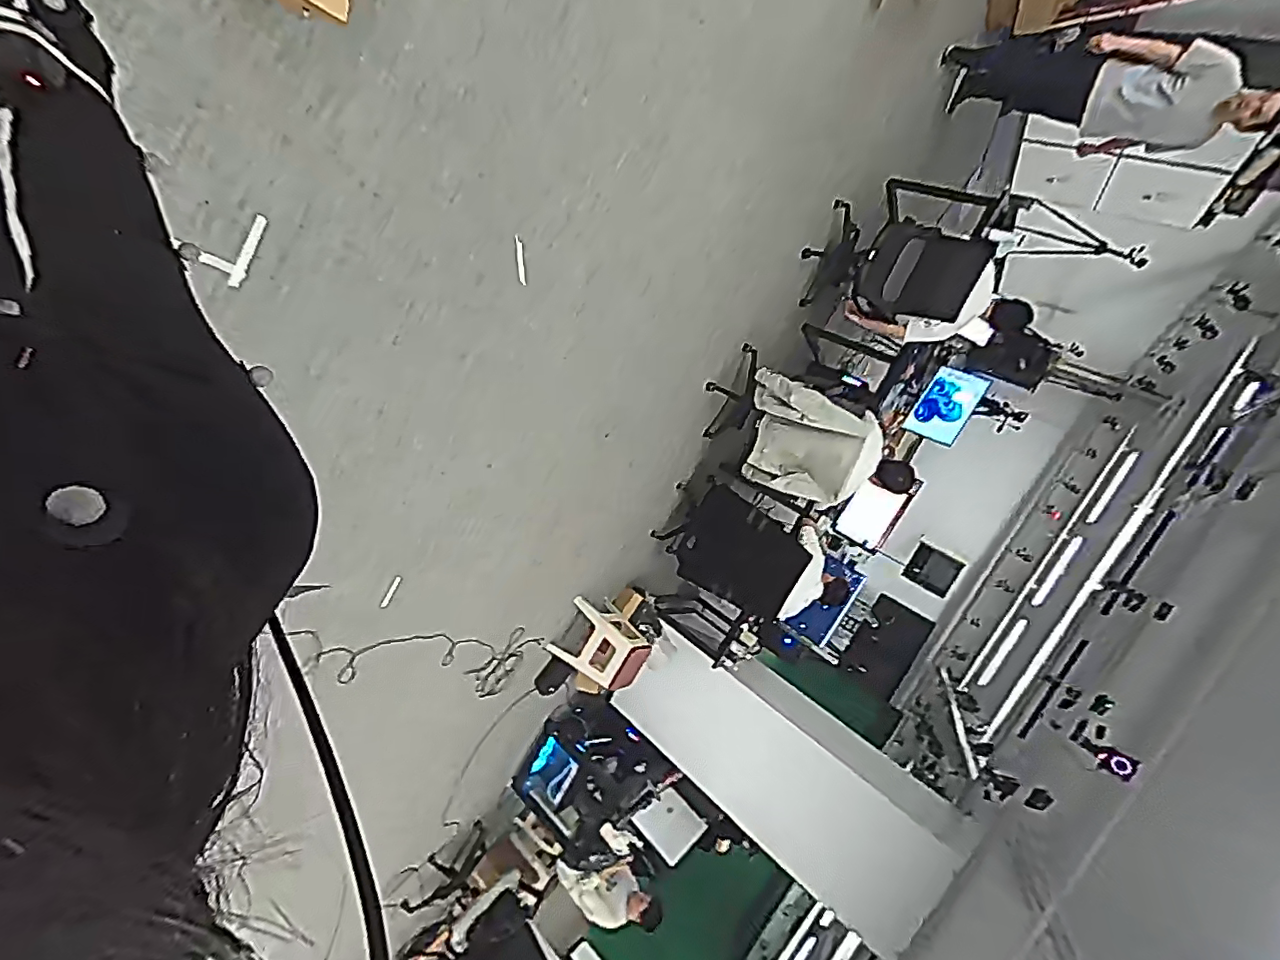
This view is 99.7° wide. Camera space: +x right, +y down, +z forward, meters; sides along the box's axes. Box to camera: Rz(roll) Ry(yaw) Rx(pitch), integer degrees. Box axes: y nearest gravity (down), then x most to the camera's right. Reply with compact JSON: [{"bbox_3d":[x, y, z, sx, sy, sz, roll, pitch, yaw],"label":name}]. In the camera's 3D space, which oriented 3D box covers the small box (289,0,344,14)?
[{"bbox_3d":[-0.656,-1.000,0.983,0.179,0.176,0.168,-9,125,-54],"label":"small box"}]
